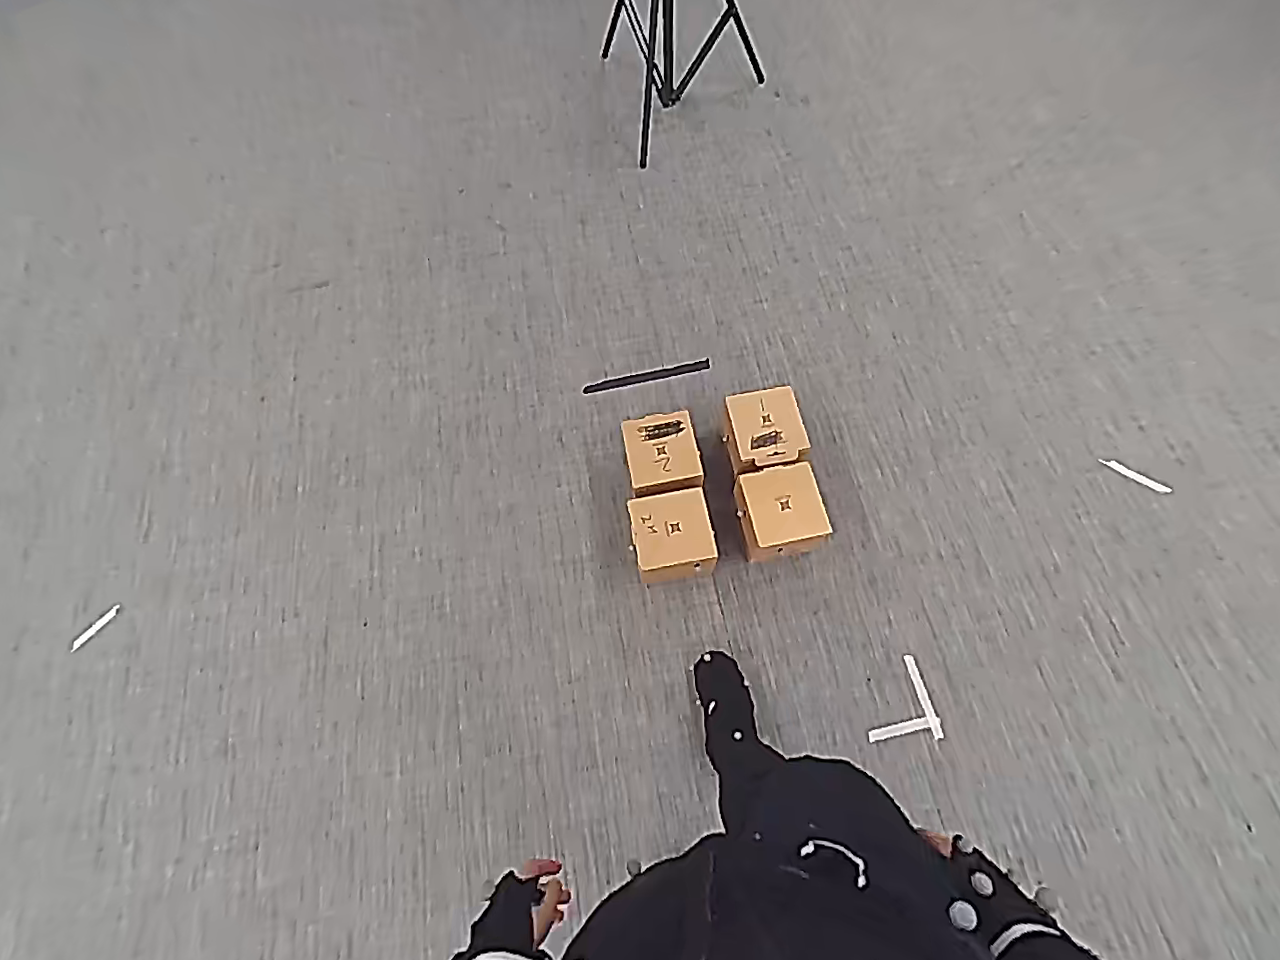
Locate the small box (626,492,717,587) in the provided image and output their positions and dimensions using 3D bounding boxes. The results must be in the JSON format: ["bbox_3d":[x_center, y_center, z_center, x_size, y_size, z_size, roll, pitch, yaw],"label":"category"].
[{"bbox_3d":[0.069,0.143,1.253,0.179,0.176,0.168,-10,68,-1],"label":"small box"}]
